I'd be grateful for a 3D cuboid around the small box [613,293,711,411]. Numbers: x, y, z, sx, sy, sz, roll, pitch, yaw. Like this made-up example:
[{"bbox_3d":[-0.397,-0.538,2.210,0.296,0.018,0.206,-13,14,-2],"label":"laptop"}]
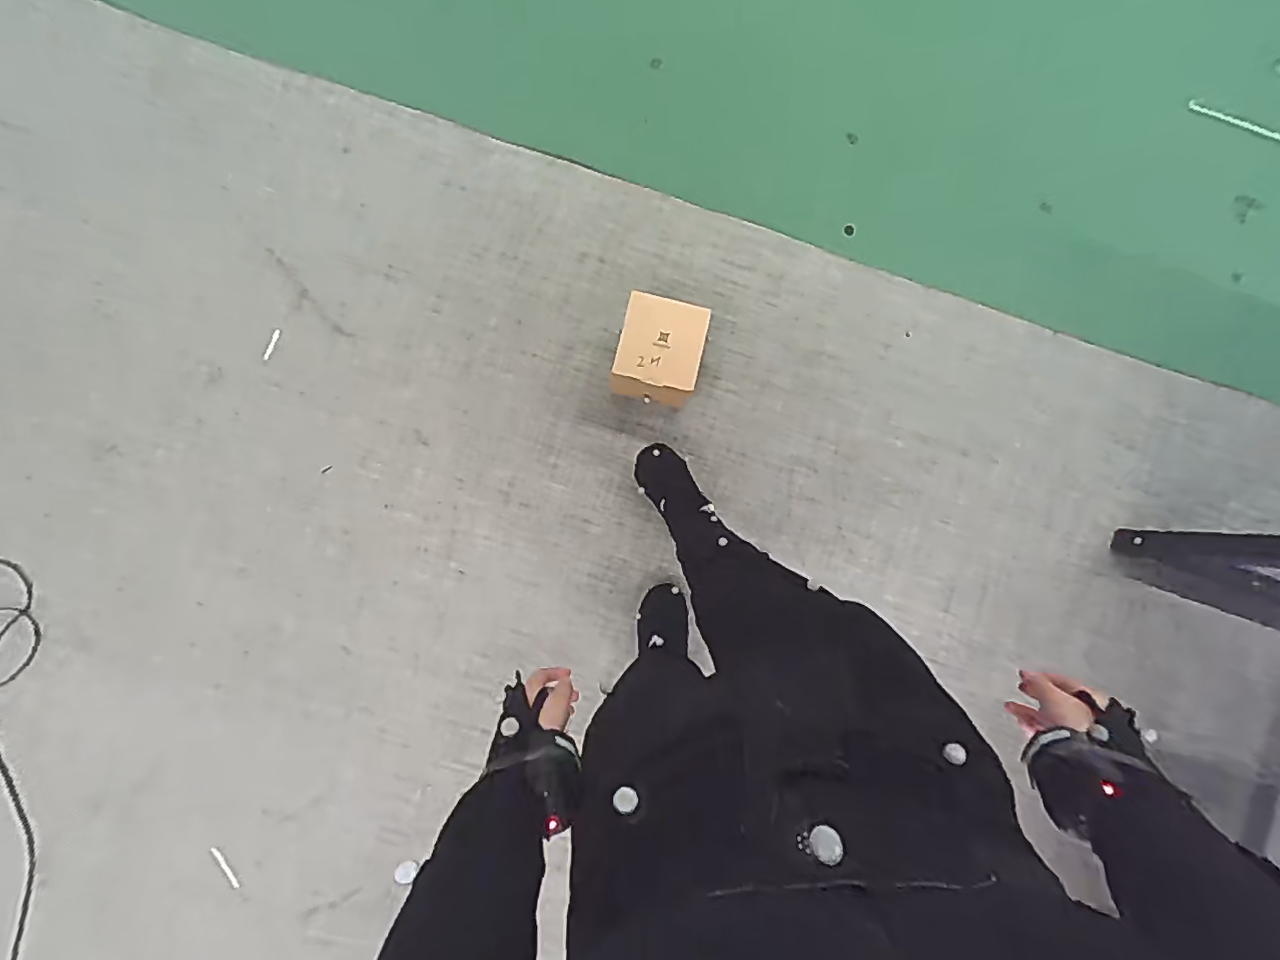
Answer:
[{"bbox_3d":[0.039,-0.263,1.144,0.168,0.176,0.179,14,85,-2],"label":"small box"}]
